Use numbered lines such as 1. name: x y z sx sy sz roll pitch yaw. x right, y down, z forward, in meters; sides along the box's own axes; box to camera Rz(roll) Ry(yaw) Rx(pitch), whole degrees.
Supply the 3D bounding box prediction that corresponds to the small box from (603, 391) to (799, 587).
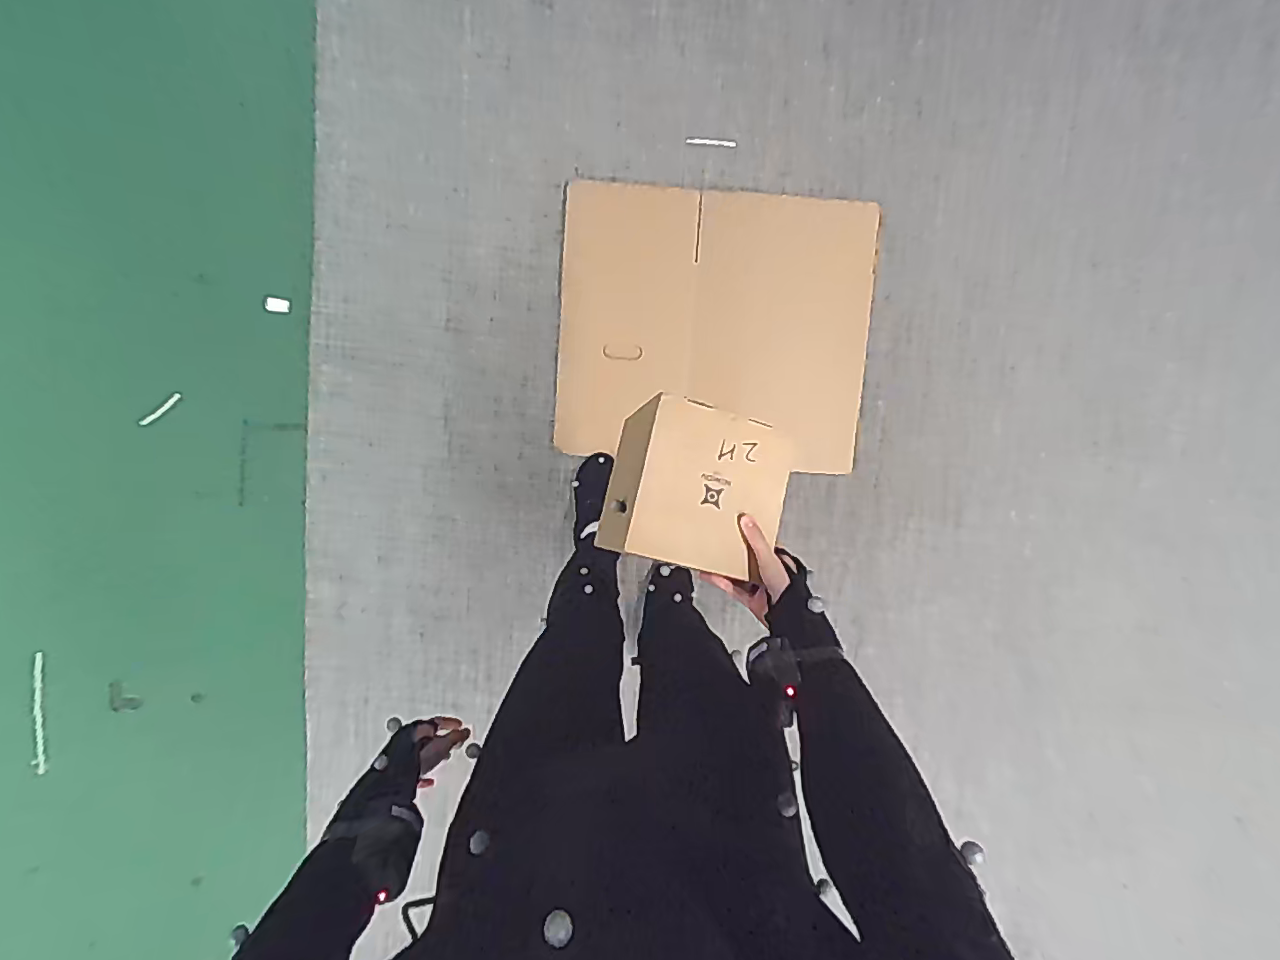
1. small box: 0.061 0.016 0.649 0.168 0.176 0.179 16 82 -14
